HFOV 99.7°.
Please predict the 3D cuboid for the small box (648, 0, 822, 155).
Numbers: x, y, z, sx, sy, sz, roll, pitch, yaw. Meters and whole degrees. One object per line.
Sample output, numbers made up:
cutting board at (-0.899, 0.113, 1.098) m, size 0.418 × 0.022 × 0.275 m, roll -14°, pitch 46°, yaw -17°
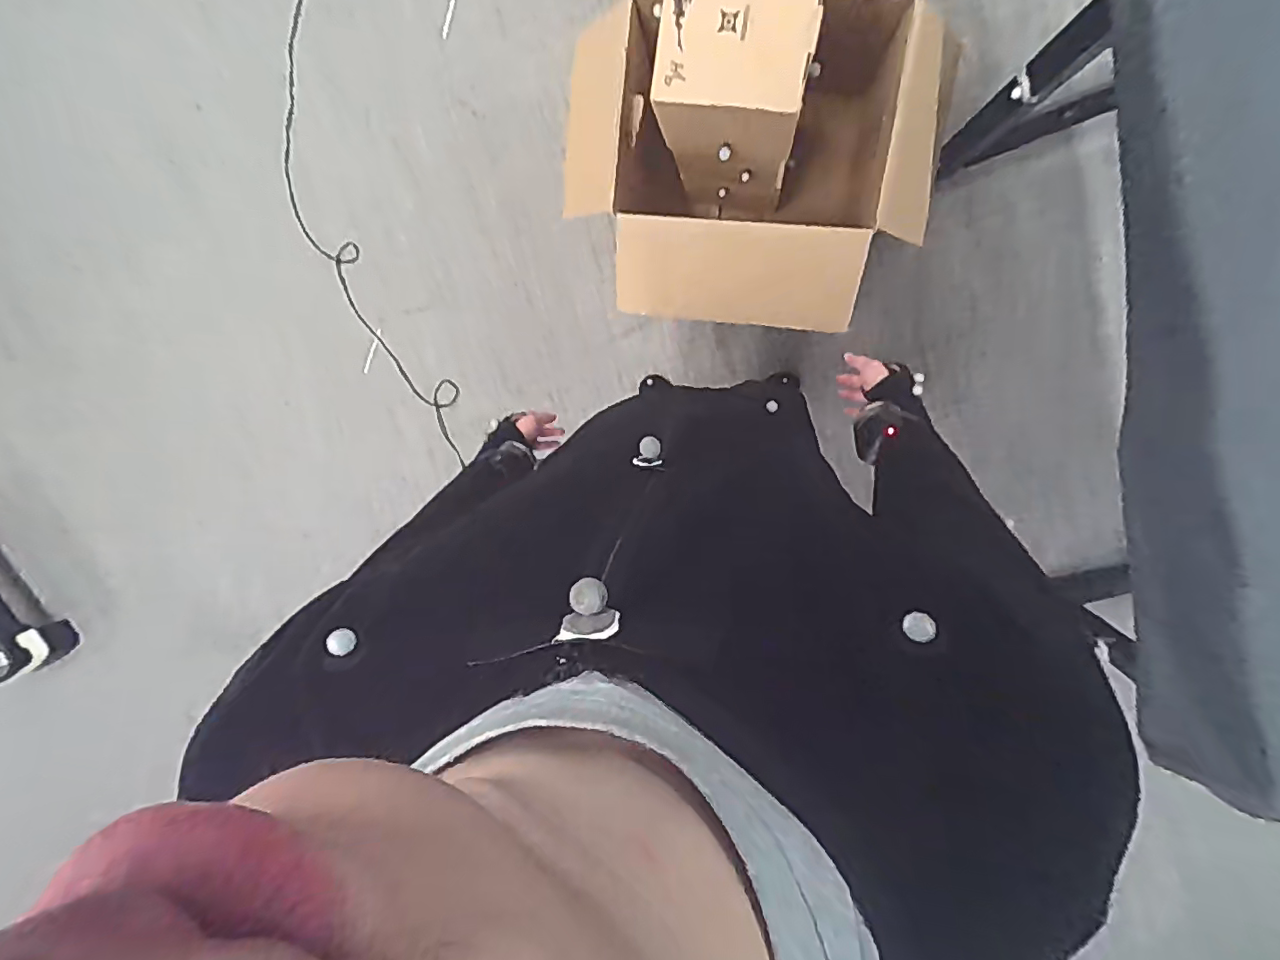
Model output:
small box at (0.119, -0.526, 0.673) m, size 0.179 × 0.176 × 0.168 m, roll 11°, pitch 105°, yaw 7°
